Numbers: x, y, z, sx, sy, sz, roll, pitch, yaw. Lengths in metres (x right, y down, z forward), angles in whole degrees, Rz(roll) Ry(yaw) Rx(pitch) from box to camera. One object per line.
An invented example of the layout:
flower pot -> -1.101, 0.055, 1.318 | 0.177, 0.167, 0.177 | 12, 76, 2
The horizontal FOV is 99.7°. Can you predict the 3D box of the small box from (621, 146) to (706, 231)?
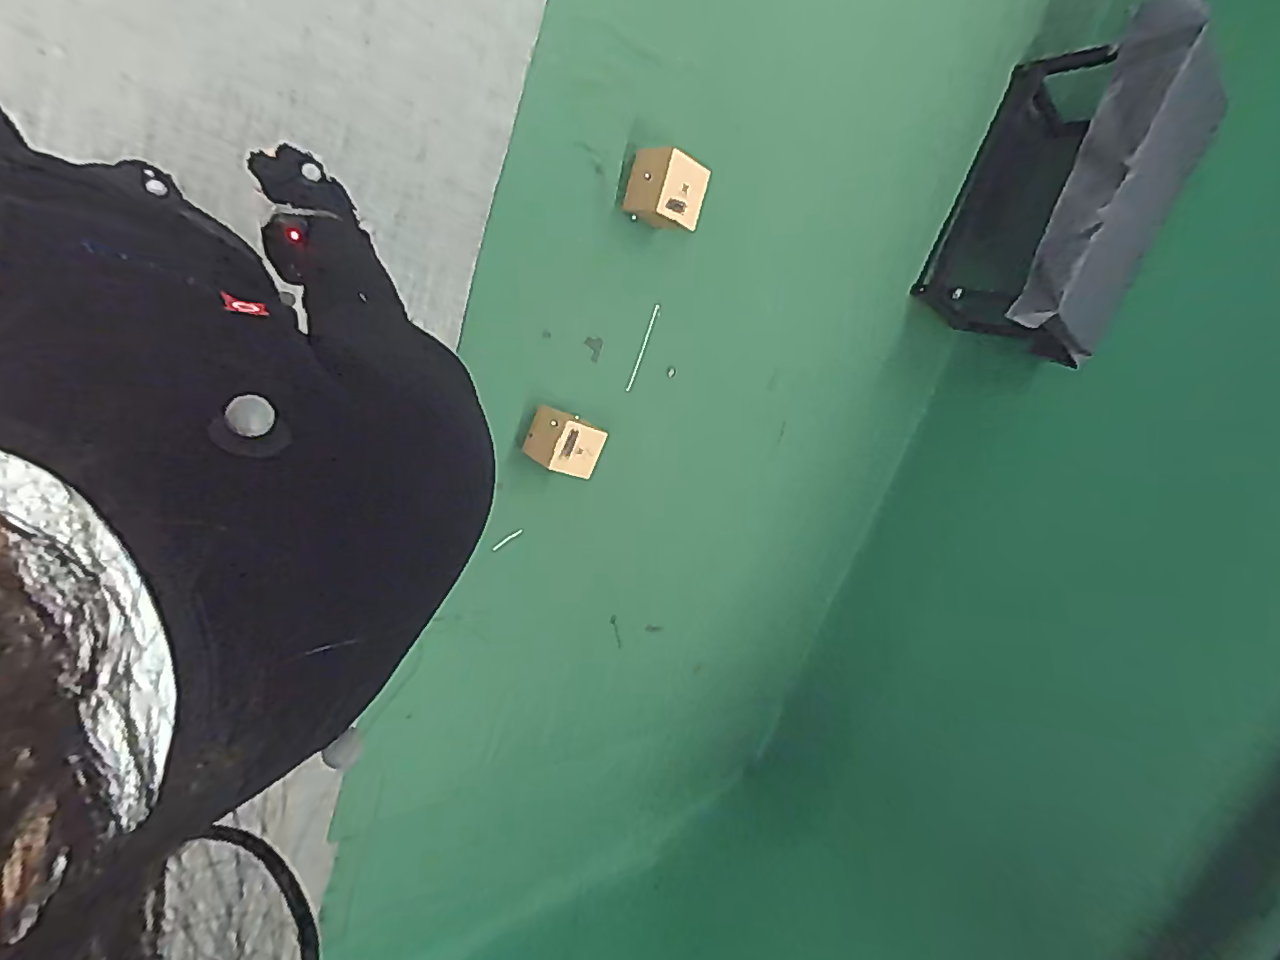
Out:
small box -> 0.064, -0.874, 1.630 | 0.168, 0.176, 0.179 | 4, 109, -44
